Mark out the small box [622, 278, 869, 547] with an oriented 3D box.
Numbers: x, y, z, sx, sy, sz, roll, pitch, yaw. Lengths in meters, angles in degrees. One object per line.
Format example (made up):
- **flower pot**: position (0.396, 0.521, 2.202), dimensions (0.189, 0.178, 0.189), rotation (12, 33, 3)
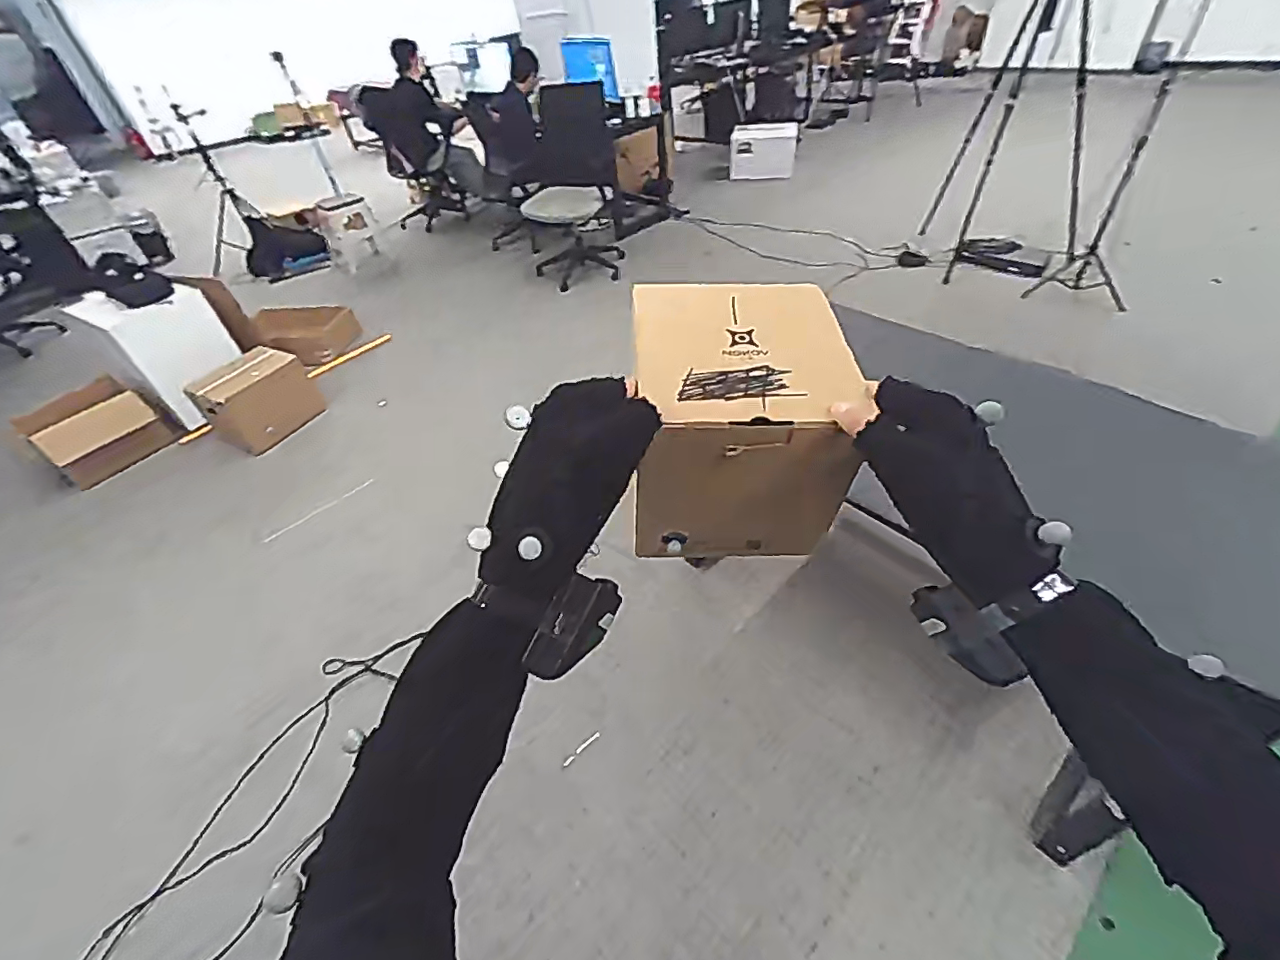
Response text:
- **small box**: position (0.070, -0.053, 0.470), dimensions (0.168, 0.176, 0.179), rotation (-1, 49, -2)
